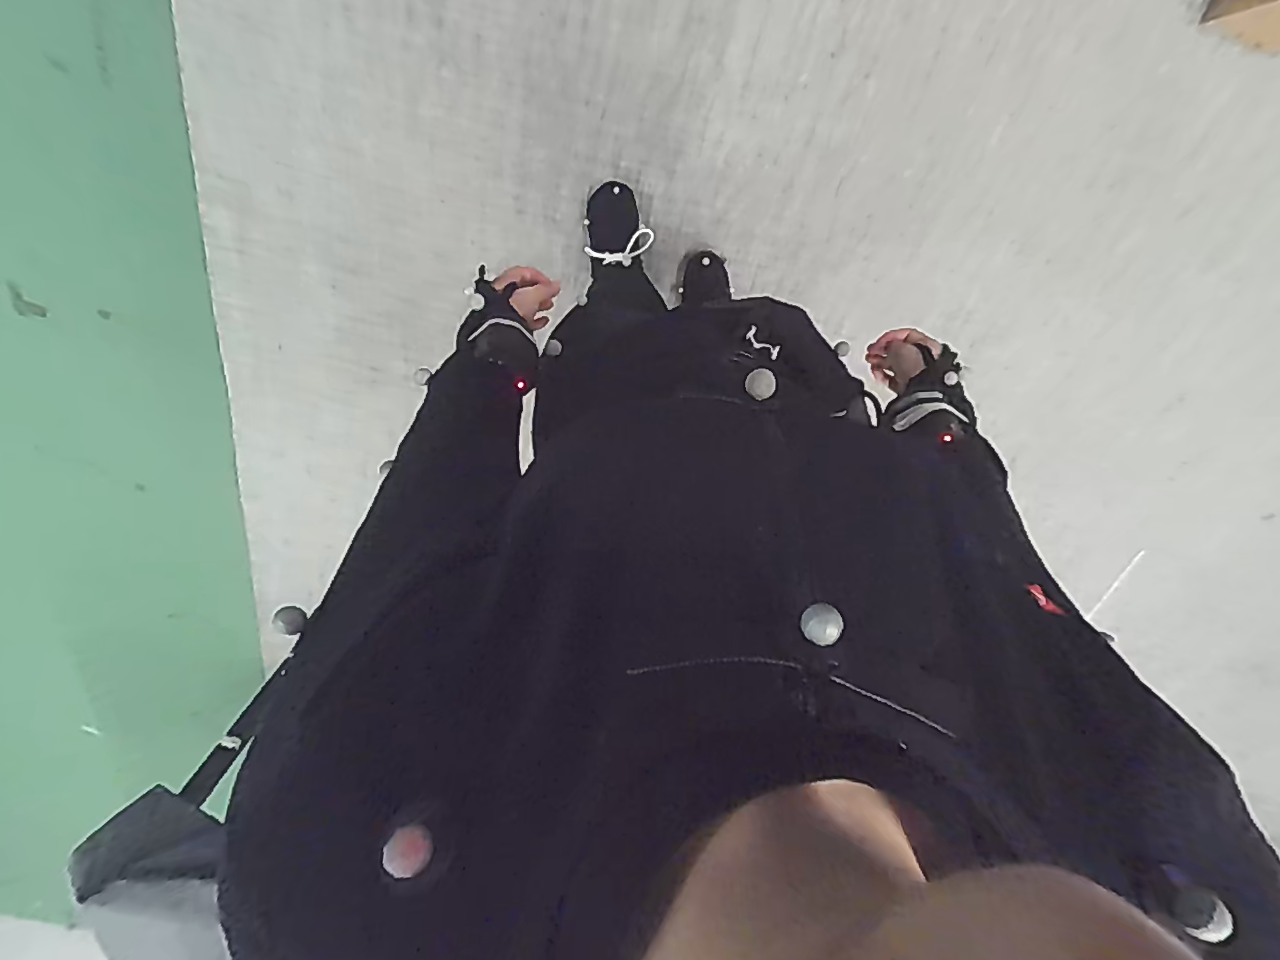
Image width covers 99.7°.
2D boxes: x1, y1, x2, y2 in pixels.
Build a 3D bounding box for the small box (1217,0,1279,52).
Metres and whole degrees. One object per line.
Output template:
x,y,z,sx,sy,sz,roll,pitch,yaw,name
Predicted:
1.121,-0.840,0.880,0.168,0.176,0.179,18,117,-9,small box
